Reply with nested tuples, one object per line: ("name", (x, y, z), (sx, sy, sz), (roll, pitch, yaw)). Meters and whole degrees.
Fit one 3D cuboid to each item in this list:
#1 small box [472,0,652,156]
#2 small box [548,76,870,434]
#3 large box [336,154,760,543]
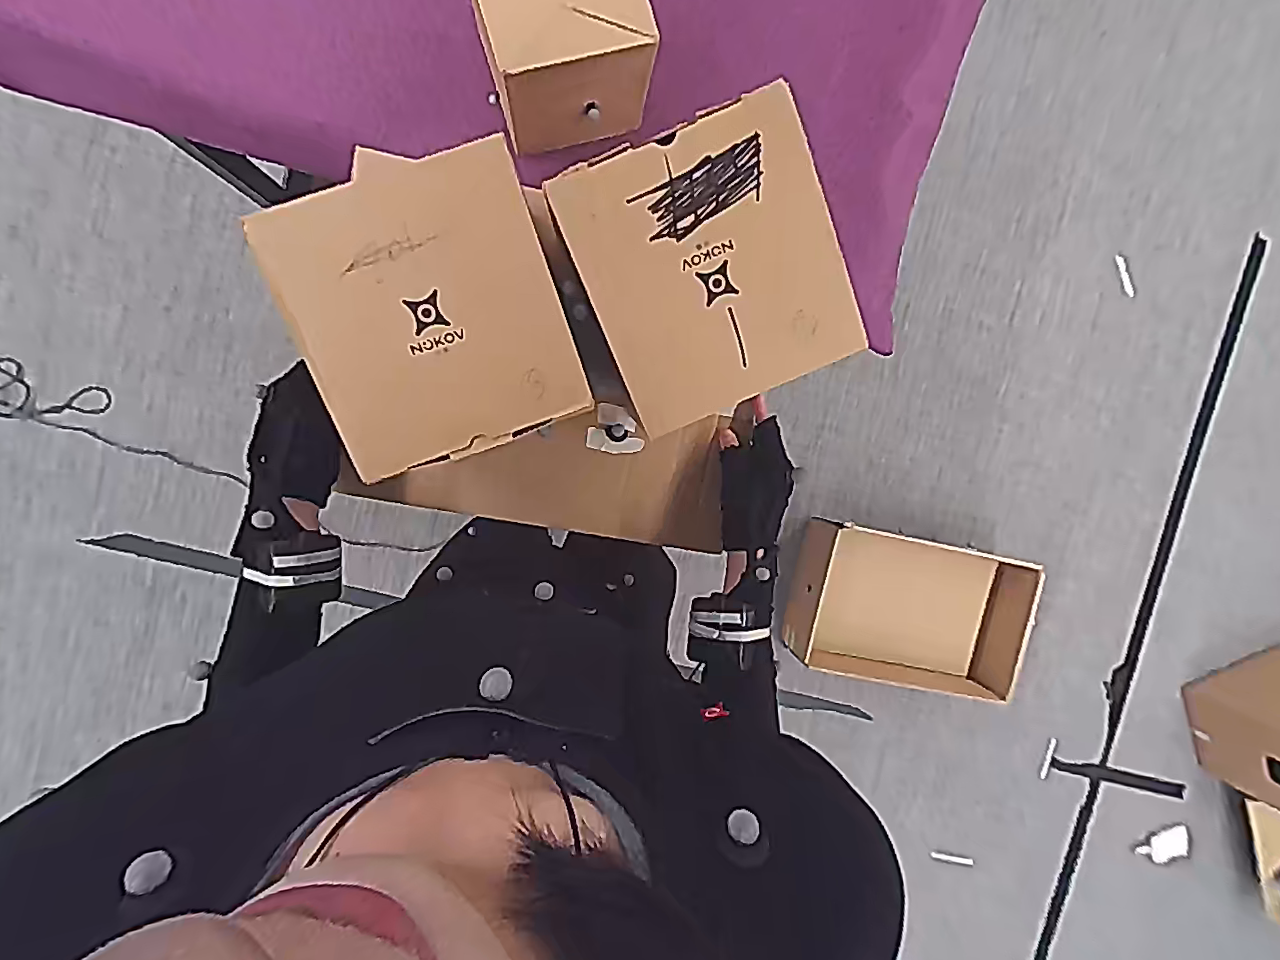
("small box", (-0.093, -0.526, 0.635), (0.179, 0.176, 0.168), (-17, 95, -5))
("small box", (0.041, -0.152, 0.421), (0.168, 0.176, 0.179), (-23, 103, 0))
("large box", (-0.091, -0.138, 0.662), (0.408, 0.320, 0.320), (9, 102, -8))
